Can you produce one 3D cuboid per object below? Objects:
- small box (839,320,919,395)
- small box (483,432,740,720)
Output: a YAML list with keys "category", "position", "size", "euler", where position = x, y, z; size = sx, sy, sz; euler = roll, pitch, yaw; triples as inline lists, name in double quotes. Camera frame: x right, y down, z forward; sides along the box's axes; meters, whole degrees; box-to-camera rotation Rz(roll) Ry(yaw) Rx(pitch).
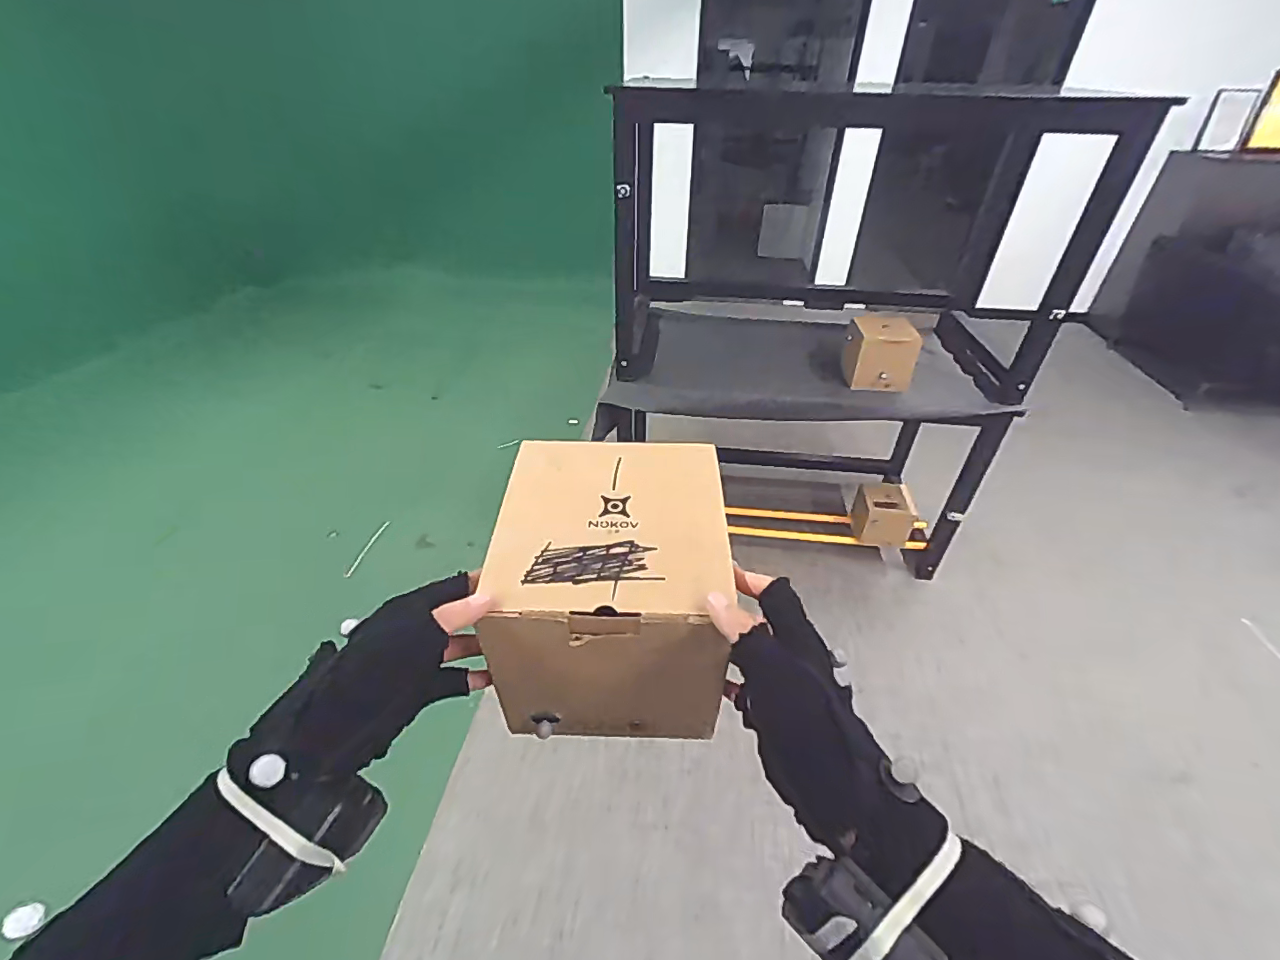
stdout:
- category: "small box"
  position: [0.722, -0.378, 1.659]
  size: [0.168, 0.176, 0.179]
  euler: [3, 36, 4]
- category: "small box"
  position: [-0.015, 0.078, 0.449]
  size: [0.168, 0.176, 0.179]
  euler: [2, 40, 1]
